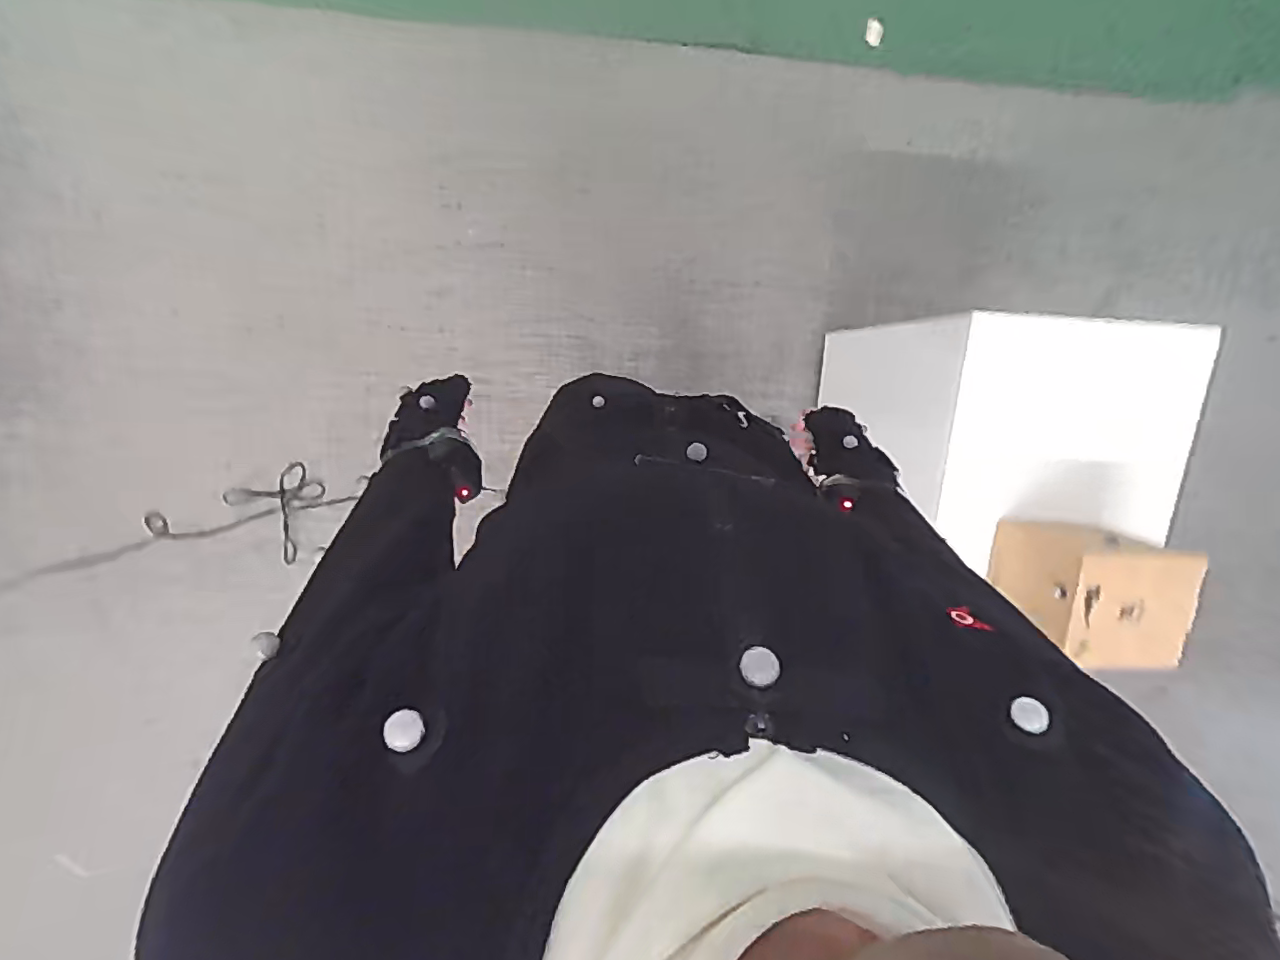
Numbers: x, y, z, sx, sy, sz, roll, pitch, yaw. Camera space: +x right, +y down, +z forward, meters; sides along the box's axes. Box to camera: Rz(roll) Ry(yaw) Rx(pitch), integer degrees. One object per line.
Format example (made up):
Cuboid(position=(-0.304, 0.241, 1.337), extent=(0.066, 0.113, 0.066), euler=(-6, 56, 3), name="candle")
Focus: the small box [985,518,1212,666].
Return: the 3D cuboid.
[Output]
Cuboid(position=(0.663, 0.157, 0.804), extent=(0.179, 0.176, 0.168), euler=(3, 102, -3), name="small box")
